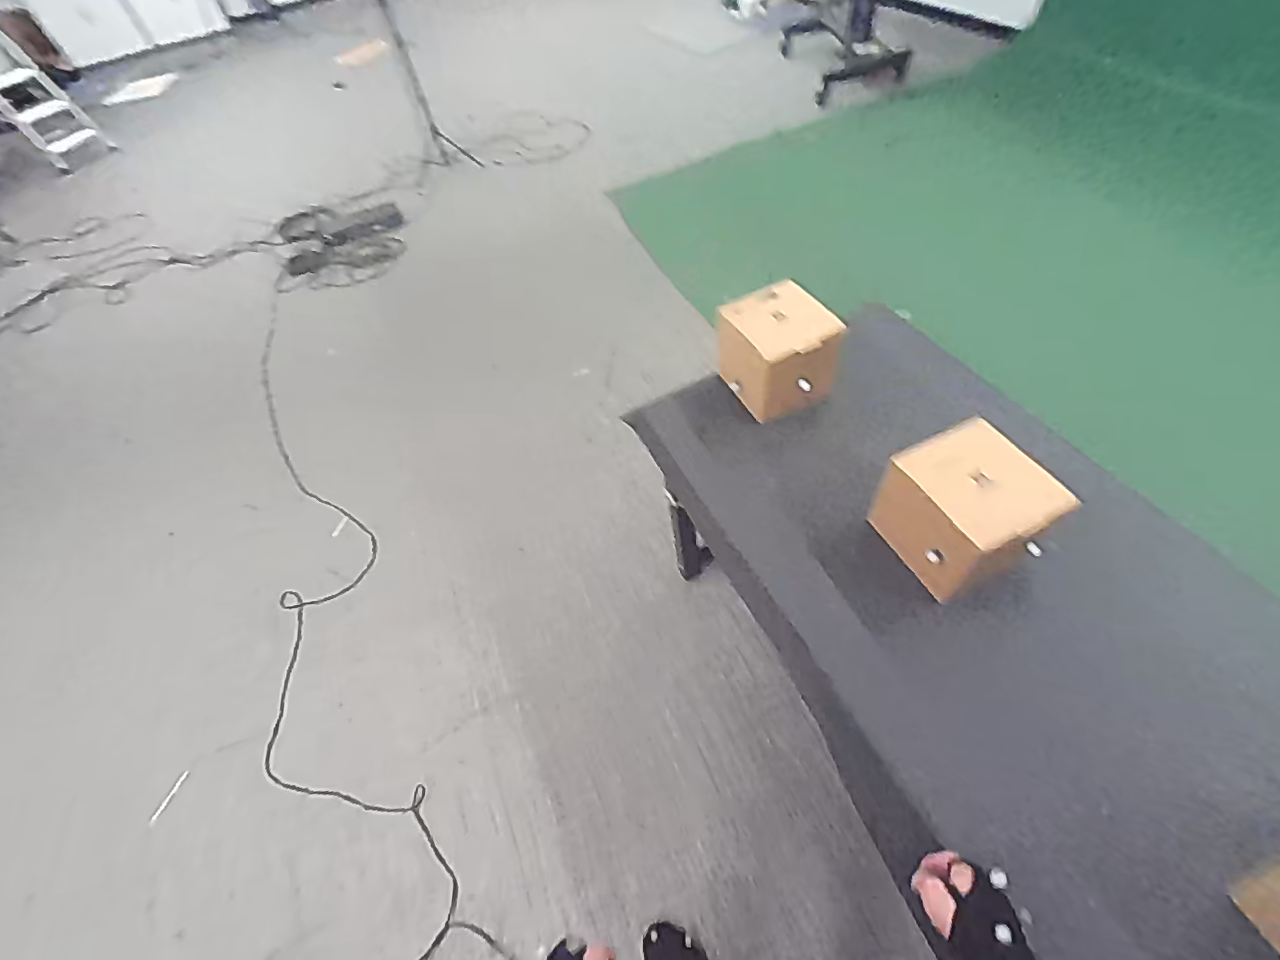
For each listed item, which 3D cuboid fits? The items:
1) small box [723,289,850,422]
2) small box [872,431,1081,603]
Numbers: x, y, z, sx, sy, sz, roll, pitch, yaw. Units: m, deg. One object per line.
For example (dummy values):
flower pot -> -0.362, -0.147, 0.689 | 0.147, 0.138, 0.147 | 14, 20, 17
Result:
small box -> 0.276, -0.235, 1.059 | 0.168, 0.176, 0.179 | -22, 55, -11
small box -> 0.485, 0.063, 0.812 | 0.168, 0.176, 0.179 | -22, 52, -11
